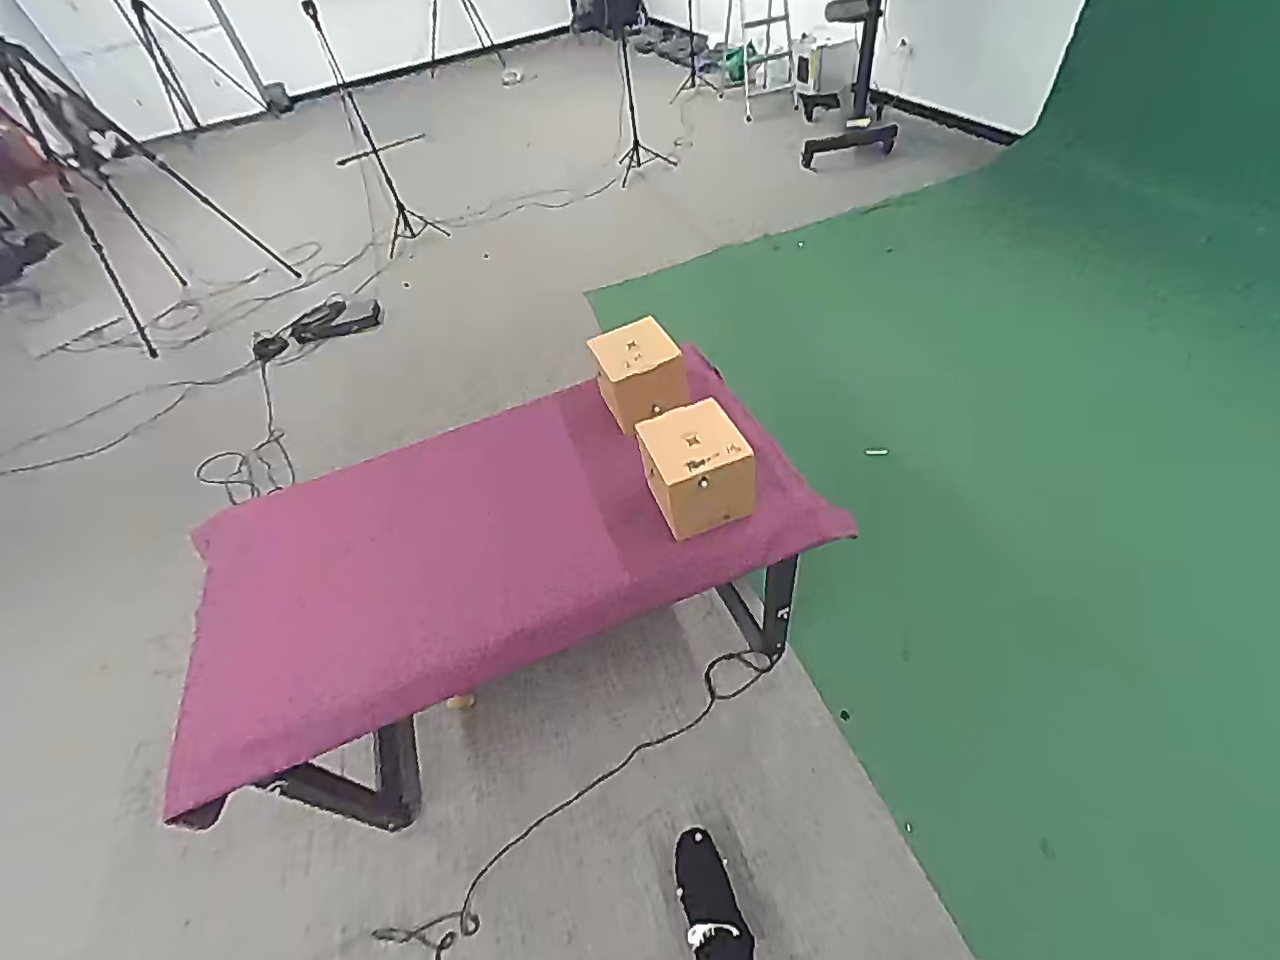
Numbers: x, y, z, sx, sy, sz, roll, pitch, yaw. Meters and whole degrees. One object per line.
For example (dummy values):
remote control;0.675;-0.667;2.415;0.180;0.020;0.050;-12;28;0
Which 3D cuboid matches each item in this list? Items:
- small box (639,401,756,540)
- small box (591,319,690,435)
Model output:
small box;0.110;-0.017;1.036;0.168;0.176;0.179;-20;47;-6
small box;0.003;-0.234;1.244;0.168;0.176;0.179;-23;50;-7
